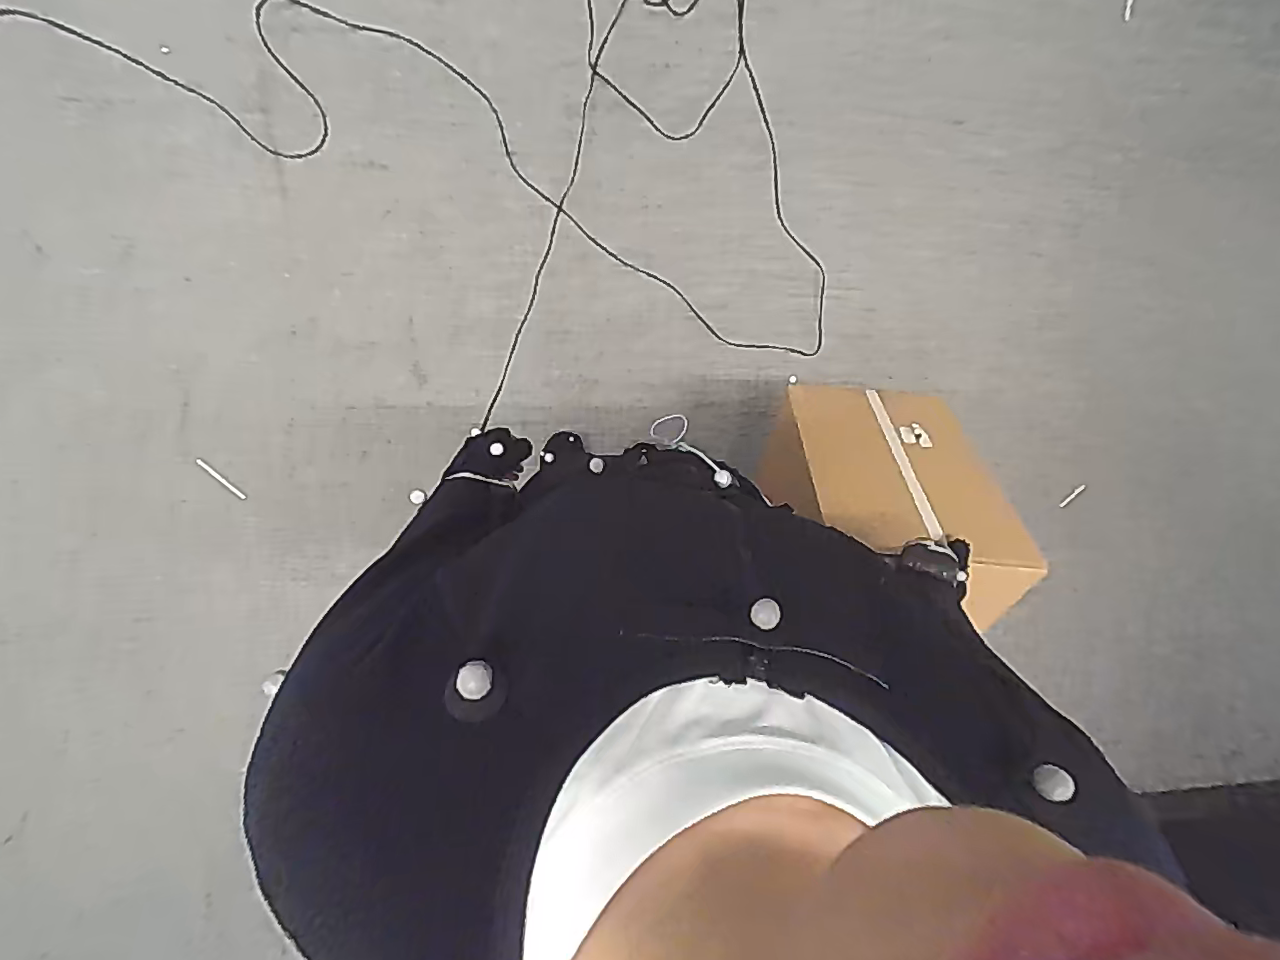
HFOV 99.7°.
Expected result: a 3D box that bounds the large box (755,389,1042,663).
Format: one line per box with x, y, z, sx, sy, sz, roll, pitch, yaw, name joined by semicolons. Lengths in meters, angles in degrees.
0.416;0.082;1.003;0.320;0.408;0.320;5;134;-2;large box
